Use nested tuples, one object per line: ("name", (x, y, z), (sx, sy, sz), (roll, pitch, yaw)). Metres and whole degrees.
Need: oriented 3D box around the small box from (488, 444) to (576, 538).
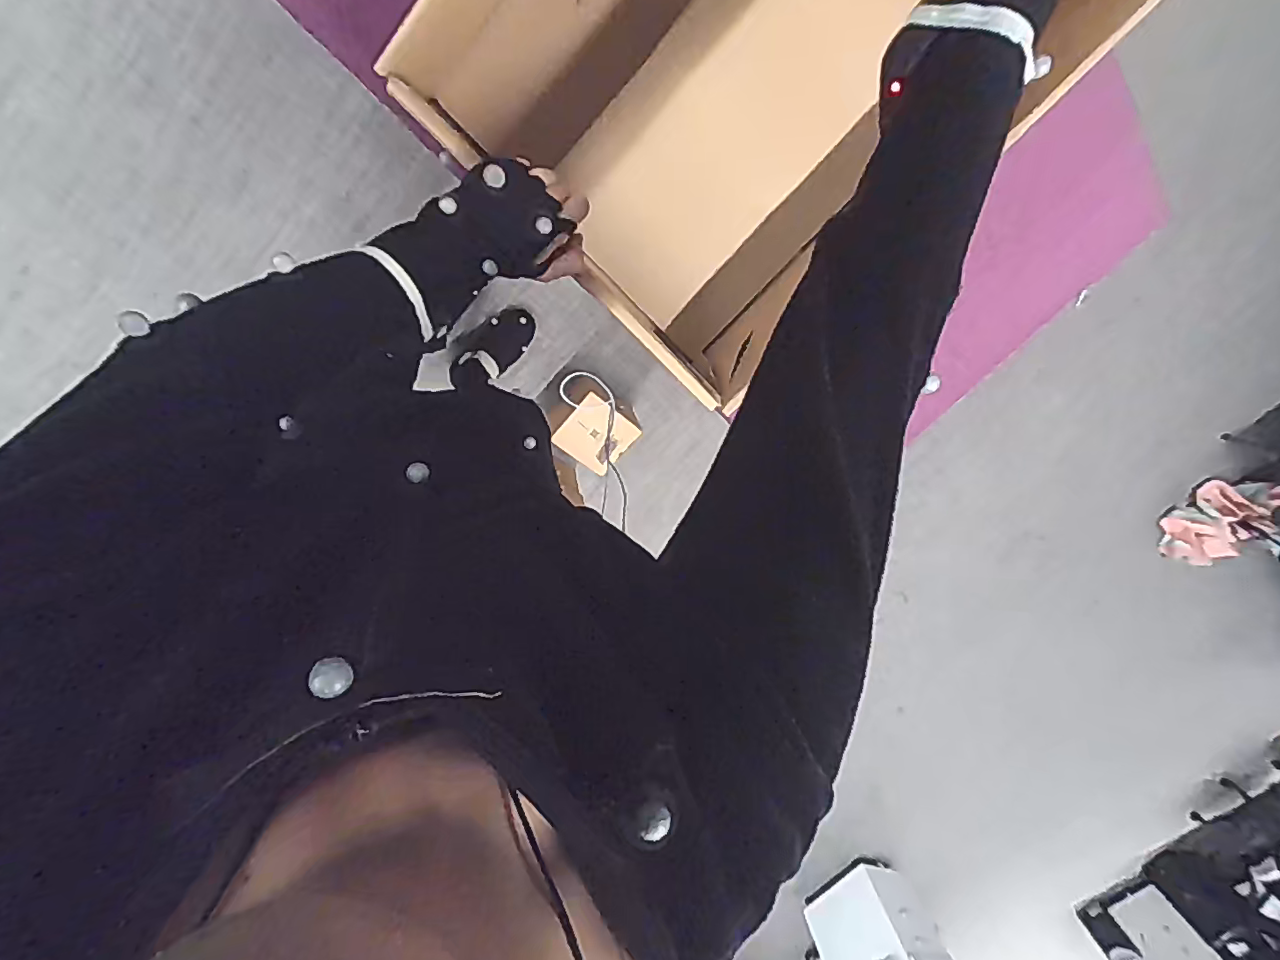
("small box", (-0.299, 0.023, 1.489), (0.179, 0.176, 0.168), (32, 107, -26))
